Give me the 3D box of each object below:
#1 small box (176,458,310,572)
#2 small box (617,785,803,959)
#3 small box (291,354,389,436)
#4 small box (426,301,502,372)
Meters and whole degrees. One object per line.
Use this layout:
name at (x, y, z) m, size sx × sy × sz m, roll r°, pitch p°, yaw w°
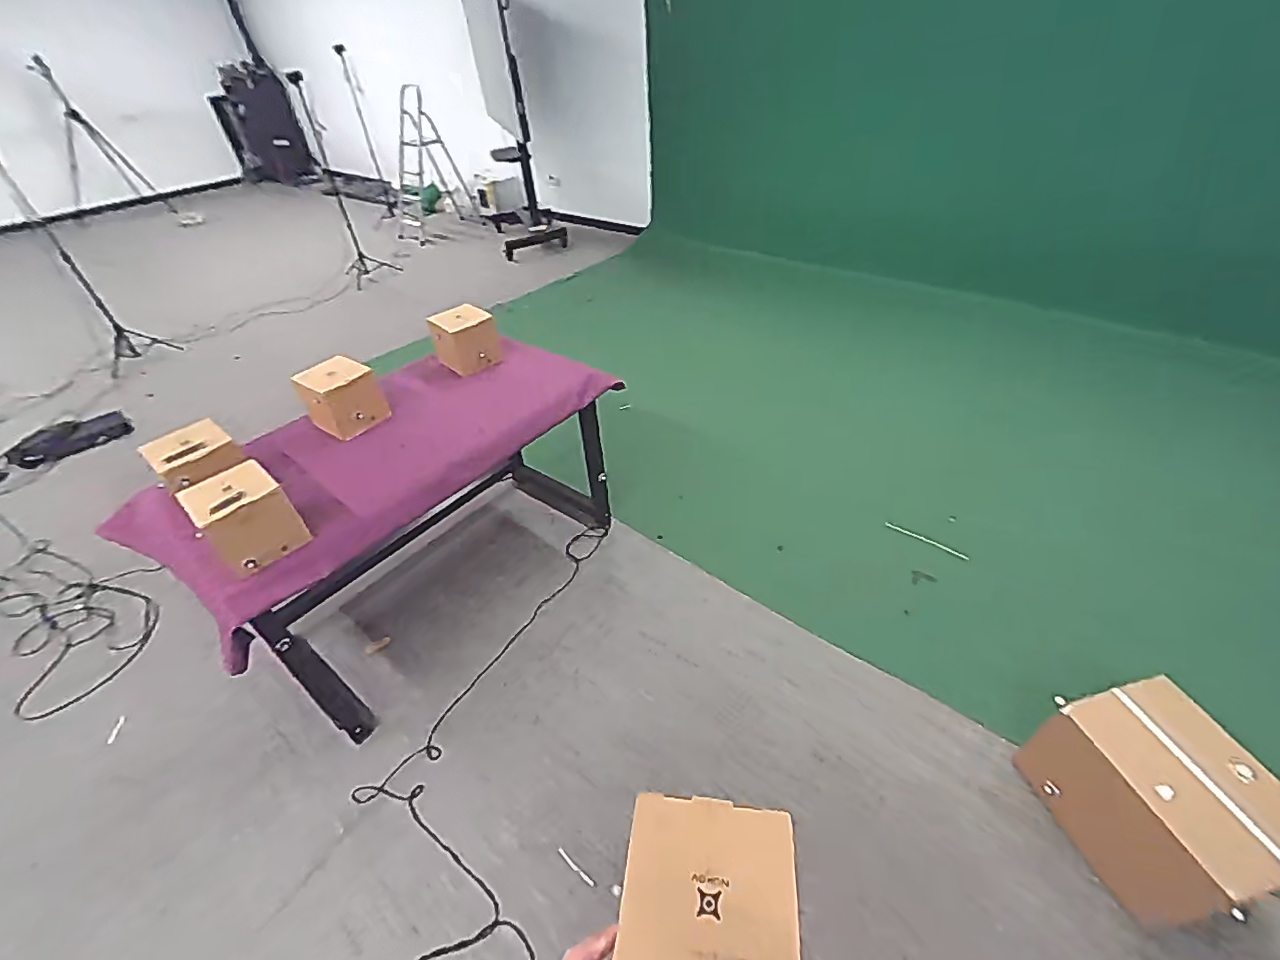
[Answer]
small box at (-0.896, 0.083, 1.233) m, size 0.179 × 0.176 × 0.168 m, roll 27°, pitch 49°, yaw 33°
small box at (0.070, 0.455, 0.562) m, size 0.168 × 0.176 × 0.179 m, roll 4°, pitch 39°, yaw 7°
small box at (-0.896, -0.254, 1.627) m, size 0.179 × 0.176 × 0.168 m, roll 23°, pitch 47°, yaw 26°
small box at (-0.608, -0.496, 1.877) m, size 0.168 × 0.176 × 0.179 m, roll -35°, pitch 51°, yaw -30°
